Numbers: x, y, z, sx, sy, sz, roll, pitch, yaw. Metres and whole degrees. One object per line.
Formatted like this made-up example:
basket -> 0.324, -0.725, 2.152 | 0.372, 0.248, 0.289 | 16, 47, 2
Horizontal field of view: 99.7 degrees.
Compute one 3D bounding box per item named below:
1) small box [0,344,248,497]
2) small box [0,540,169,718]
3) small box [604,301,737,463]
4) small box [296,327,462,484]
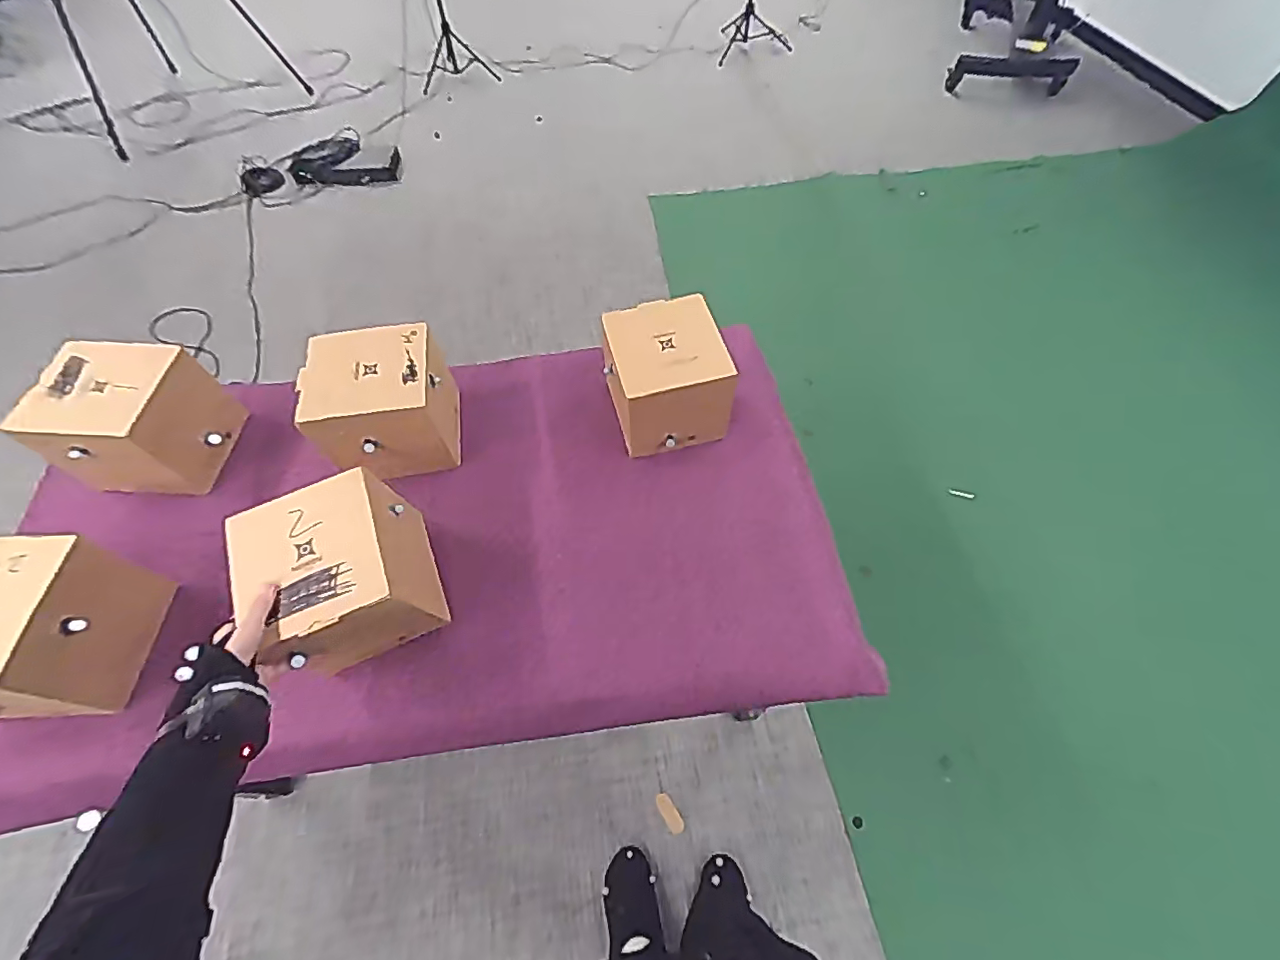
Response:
small box -> -0.759, -0.085, 0.822 | 0.179, 0.176, 0.168 | 3, 59, 0
small box -> -0.736, 0.187, 0.654 | 0.168, 0.176, 0.179 | -1, 58, -1
small box -> 0.041, -0.153, 0.866 | 0.168, 0.176, 0.179 | -13, 60, -6
small box -> -0.389, -0.109, 0.839 | 0.179, 0.176, 0.168 | -9, 60, -4
